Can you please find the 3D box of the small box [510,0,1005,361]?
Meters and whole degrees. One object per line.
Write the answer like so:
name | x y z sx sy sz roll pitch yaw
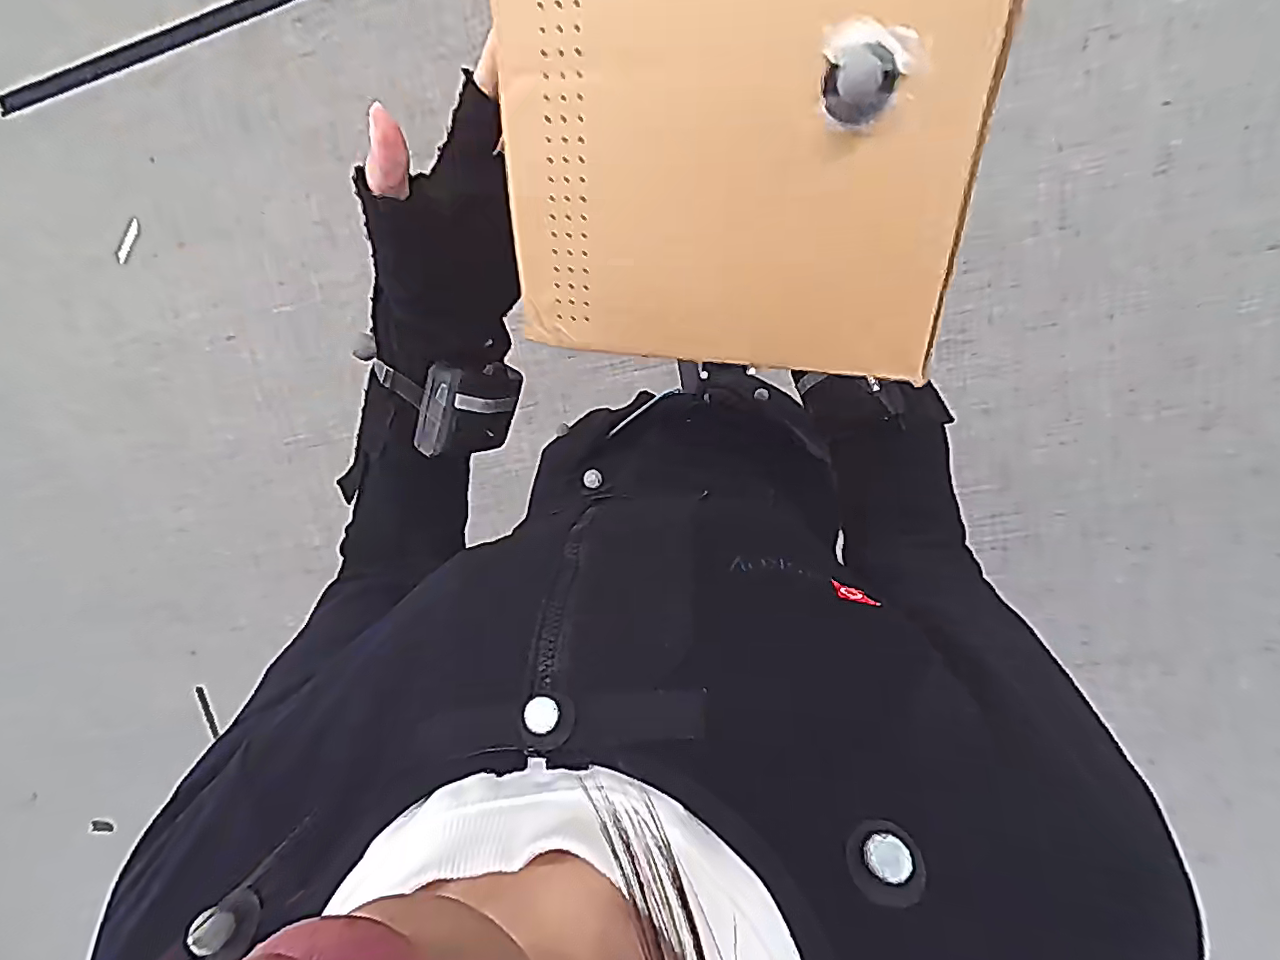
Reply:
small box | 0.049 -0.167 0.260 0.176 0.168 0.179 9 119 14
